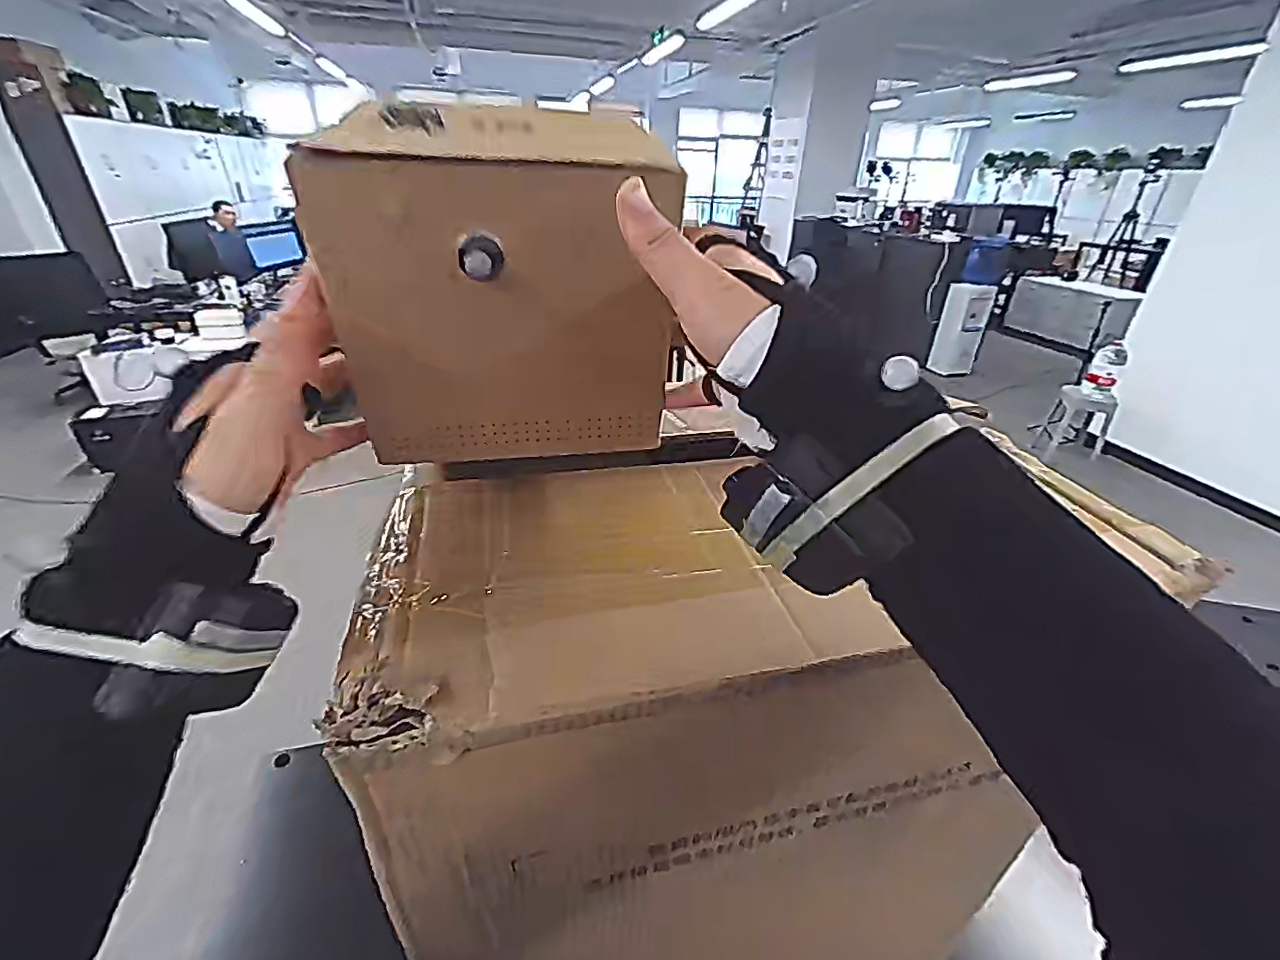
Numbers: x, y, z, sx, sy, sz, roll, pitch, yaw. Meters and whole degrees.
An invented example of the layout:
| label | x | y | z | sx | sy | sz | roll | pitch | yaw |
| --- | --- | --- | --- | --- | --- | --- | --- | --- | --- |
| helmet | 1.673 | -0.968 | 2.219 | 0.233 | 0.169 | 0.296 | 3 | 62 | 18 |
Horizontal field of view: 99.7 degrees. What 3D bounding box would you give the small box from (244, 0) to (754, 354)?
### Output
| label | x | y | z | sx | sy | sz | roll | pitch | yaw |
| --- | --- | --- | --- | --- | --- | --- | --- | --- | --- |
| small box | -0.057 | -0.171 | 0.258 | 0.179 | 0.176 | 0.168 | -5 | 44 | -11 |
